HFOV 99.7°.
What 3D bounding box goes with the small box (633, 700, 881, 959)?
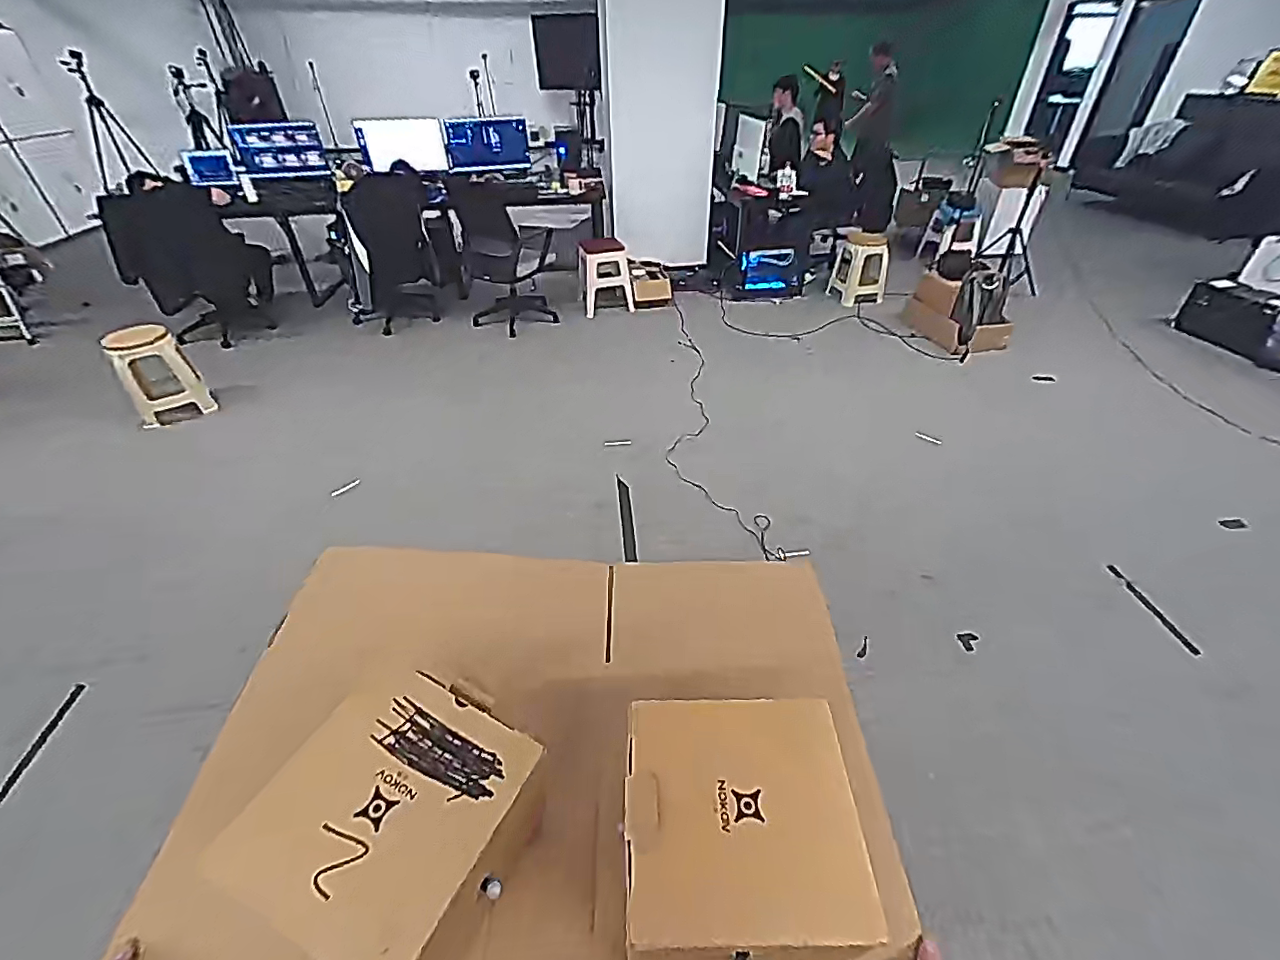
[{"bbox_3d":[0.083,0.314,0.485,0.179,0.176,0.168,-1,43,0],"label":"small box"}]
